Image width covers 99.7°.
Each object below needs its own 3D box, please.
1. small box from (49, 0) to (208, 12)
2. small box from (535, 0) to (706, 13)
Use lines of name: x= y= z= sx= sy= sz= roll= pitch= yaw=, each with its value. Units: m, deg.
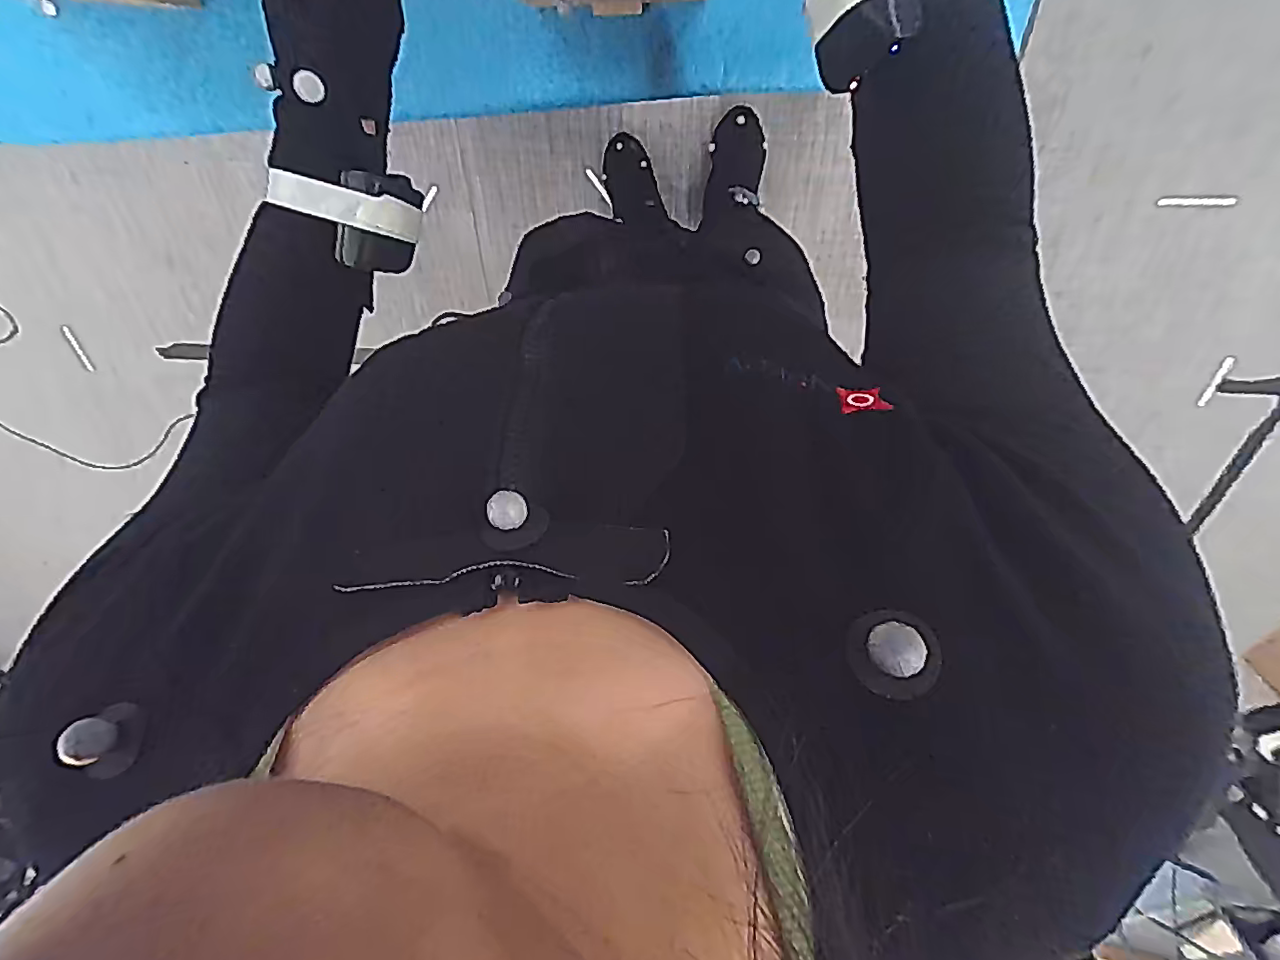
small box: x=-0.496 y=-0.483 z=0.408 sx=0.168 sy=0.176 sz=0.179 roll=5 pitch=127 yaw=1
small box: x=-0.028 y=-0.459 z=0.380 sx=0.168 sy=0.176 sz=0.179 roll=1 pitch=125 yaw=5
